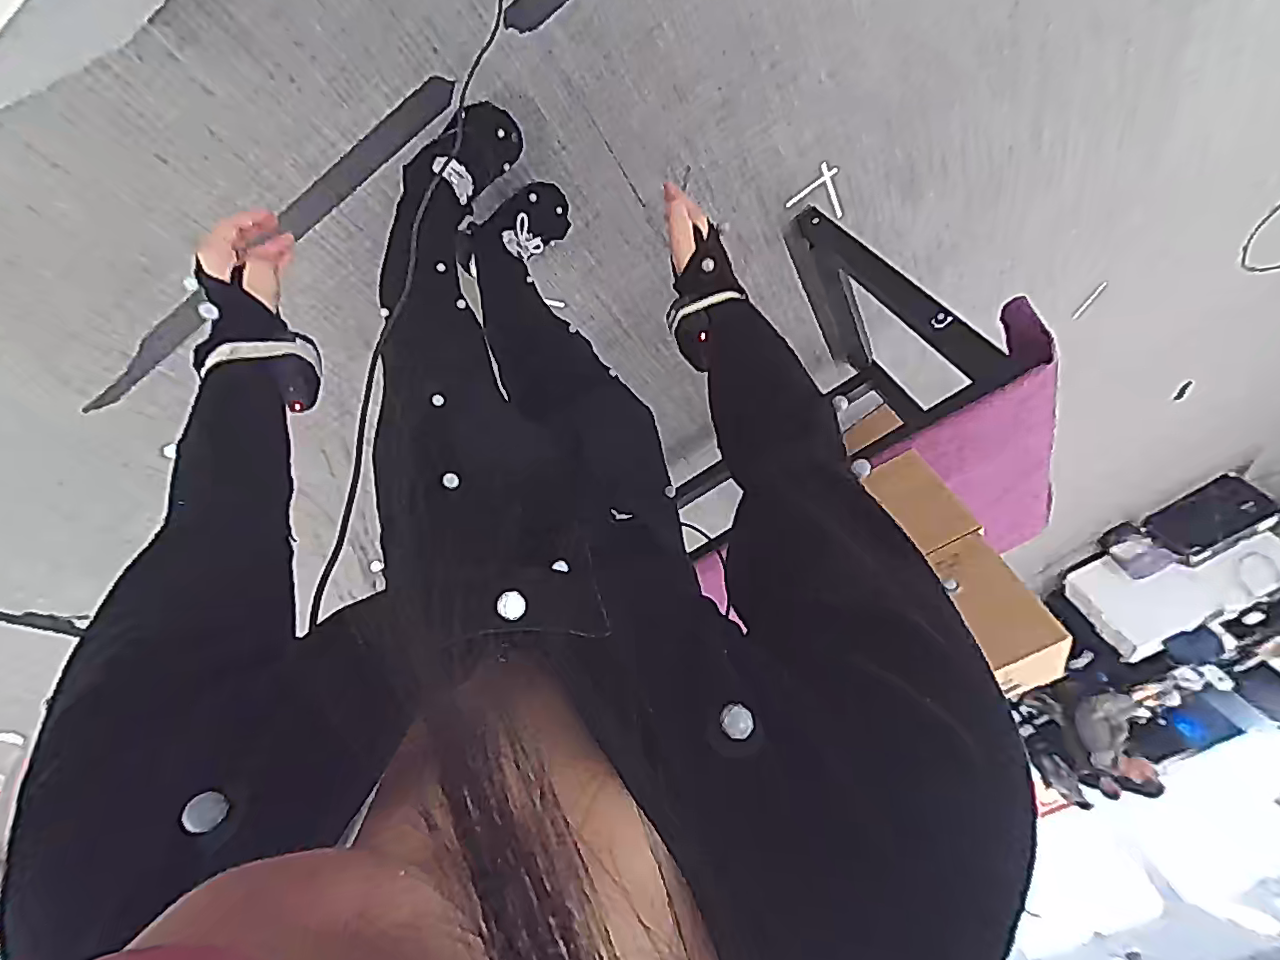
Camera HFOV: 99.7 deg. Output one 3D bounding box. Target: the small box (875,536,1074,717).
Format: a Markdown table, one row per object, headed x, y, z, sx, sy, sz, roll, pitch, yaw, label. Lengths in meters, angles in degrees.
| x | y | z | sx | sy | sz | roll | pitch | yaw | label |
| --- | --- | --- | --- | --- | --- | --- | --- | --- | --- |
| 0.462 | 0.208 | 0.769 | 0.168 | 0.176 | 0.179 | -31 | 137 | 11 | small box |
